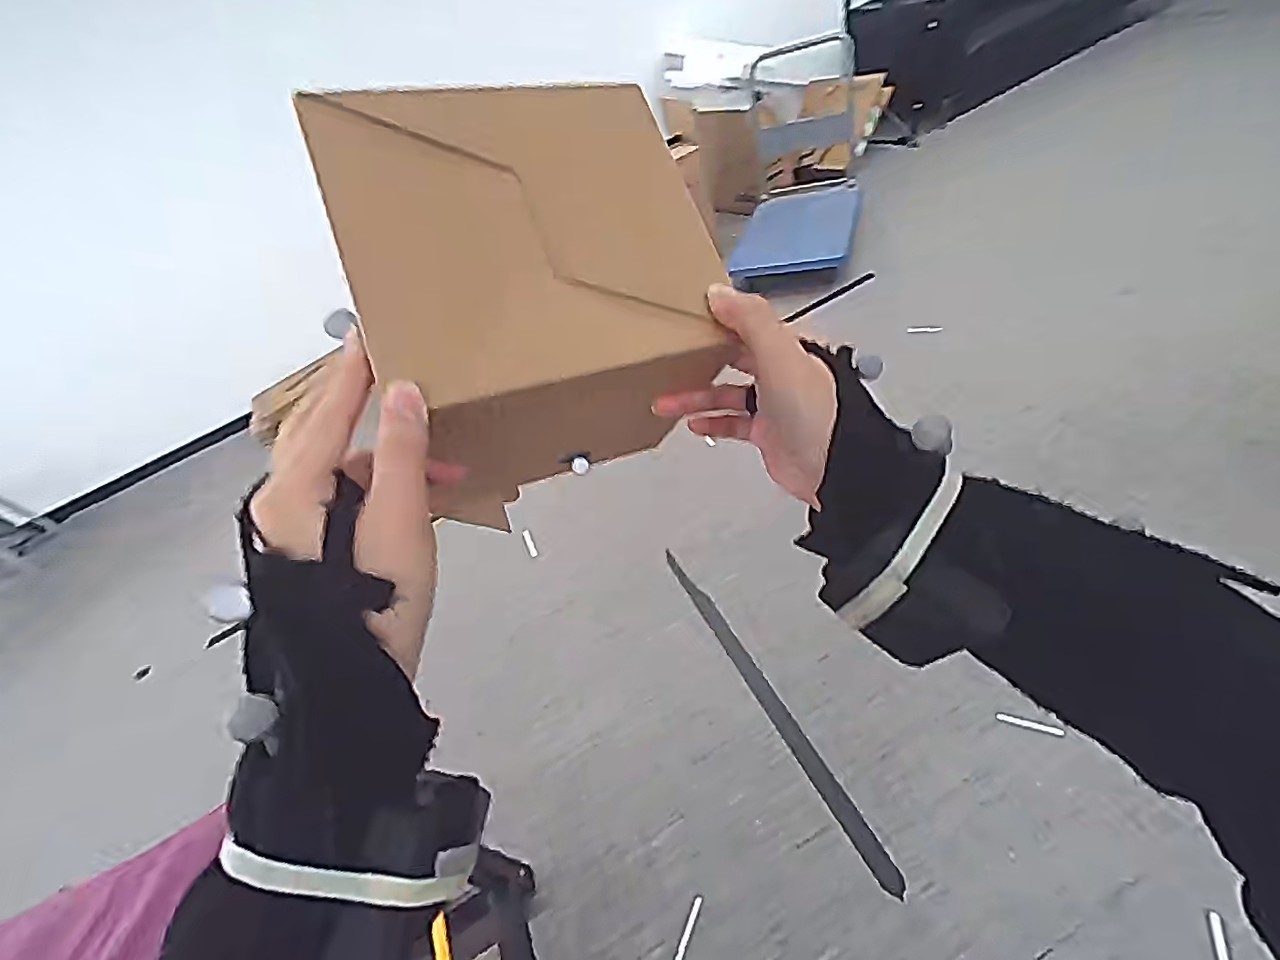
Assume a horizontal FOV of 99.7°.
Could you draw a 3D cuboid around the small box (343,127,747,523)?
[{"bbox_3d":[-0.060,-0.089,0.344,0.179,0.176,0.168,-16,77,-21],"label":"small box"}]
